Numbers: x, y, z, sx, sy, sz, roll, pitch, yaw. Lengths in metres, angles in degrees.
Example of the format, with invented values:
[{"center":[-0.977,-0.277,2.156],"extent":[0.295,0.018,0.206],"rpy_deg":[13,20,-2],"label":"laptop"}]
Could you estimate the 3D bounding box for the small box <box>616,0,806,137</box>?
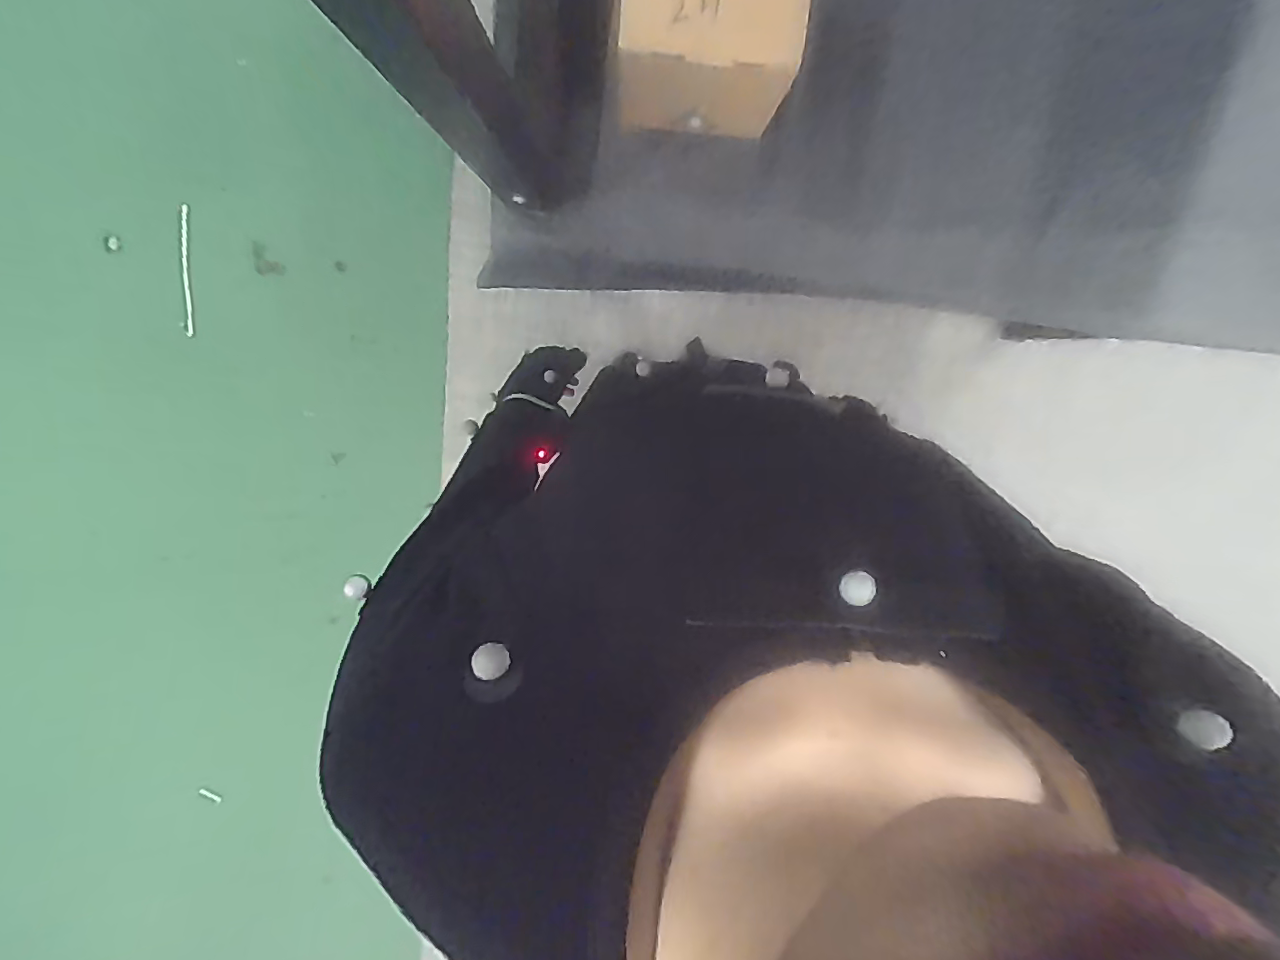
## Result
[{"center":[0.066,-0.476,0.535],"extent":[0.168,0.176,0.179],"rpy_deg":[5,104,-1],"label":"small box"}]
